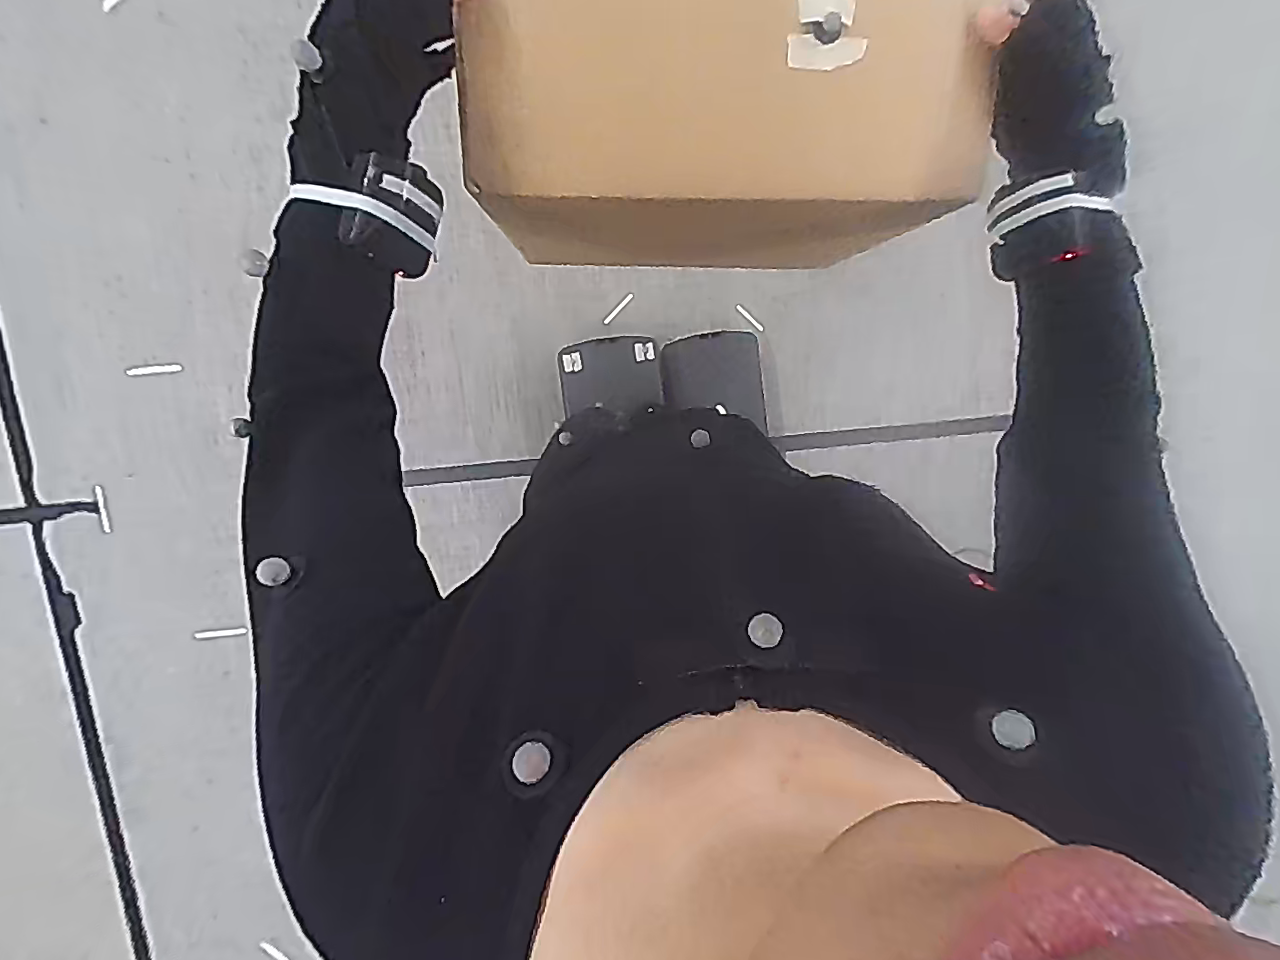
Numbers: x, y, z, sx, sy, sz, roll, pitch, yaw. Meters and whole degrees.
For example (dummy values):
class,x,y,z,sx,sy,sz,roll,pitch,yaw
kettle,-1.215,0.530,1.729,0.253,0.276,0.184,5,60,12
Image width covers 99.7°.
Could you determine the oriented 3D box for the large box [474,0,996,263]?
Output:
class,x,y,z,sx,sy,sz,roll,pitch,yaw
large box,0.064,-0.411,0.545,0.408,0.320,0.320,-1,103,-4
